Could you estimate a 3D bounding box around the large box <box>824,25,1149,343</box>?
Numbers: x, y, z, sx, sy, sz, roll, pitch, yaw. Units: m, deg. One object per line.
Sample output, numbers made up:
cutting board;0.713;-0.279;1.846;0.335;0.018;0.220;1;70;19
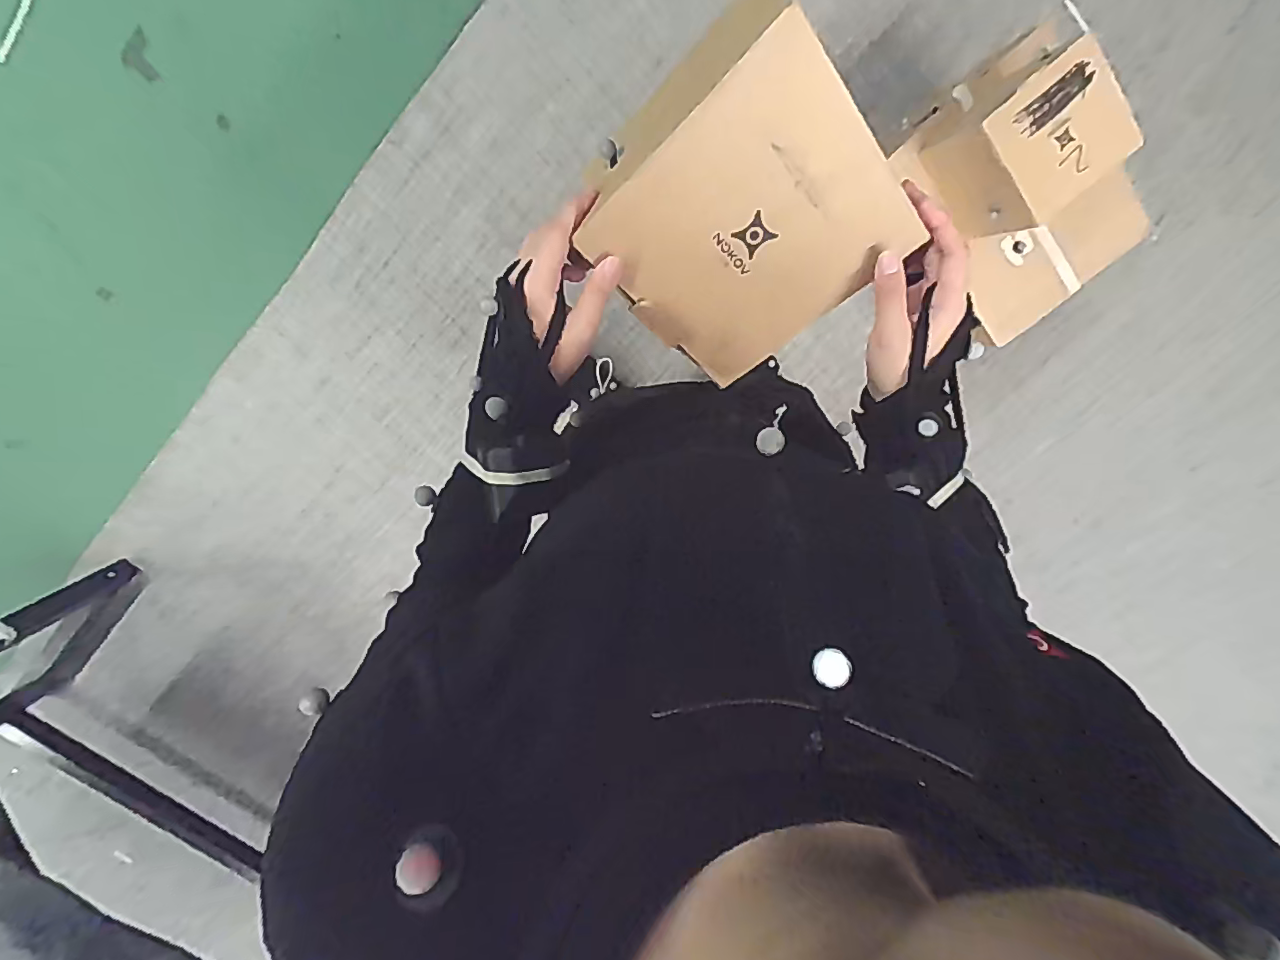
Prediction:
large box;0.644;-0.532;1.065;0.320;0.320;0.408;-40;105;12
